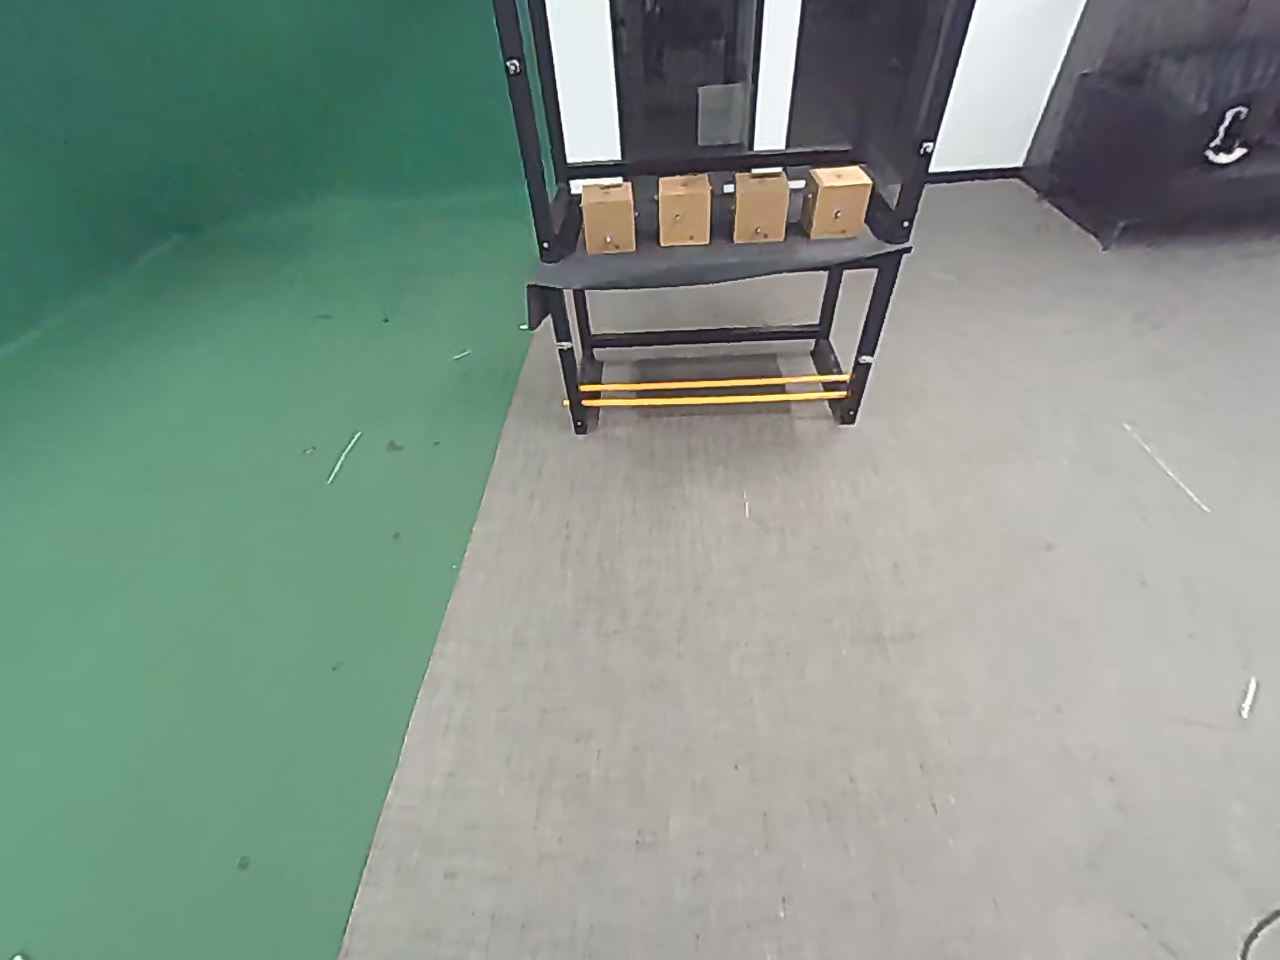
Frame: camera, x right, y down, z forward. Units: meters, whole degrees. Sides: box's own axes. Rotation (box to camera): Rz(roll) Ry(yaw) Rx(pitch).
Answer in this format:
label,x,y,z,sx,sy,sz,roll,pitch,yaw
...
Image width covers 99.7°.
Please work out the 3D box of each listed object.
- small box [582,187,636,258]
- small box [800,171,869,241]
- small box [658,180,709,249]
label,x,y,z,sx,sy,sz,roll,pitch,yaw
small box,-0.103,-0.868,1.828,0.168,0.176,0.179,-5,46,1
small box,0.640,-0.907,1.798,0.168,0.176,0.179,-2,44,3
small box,0.149,-0.900,1.840,0.168,0.176,0.179,-1,45,3
